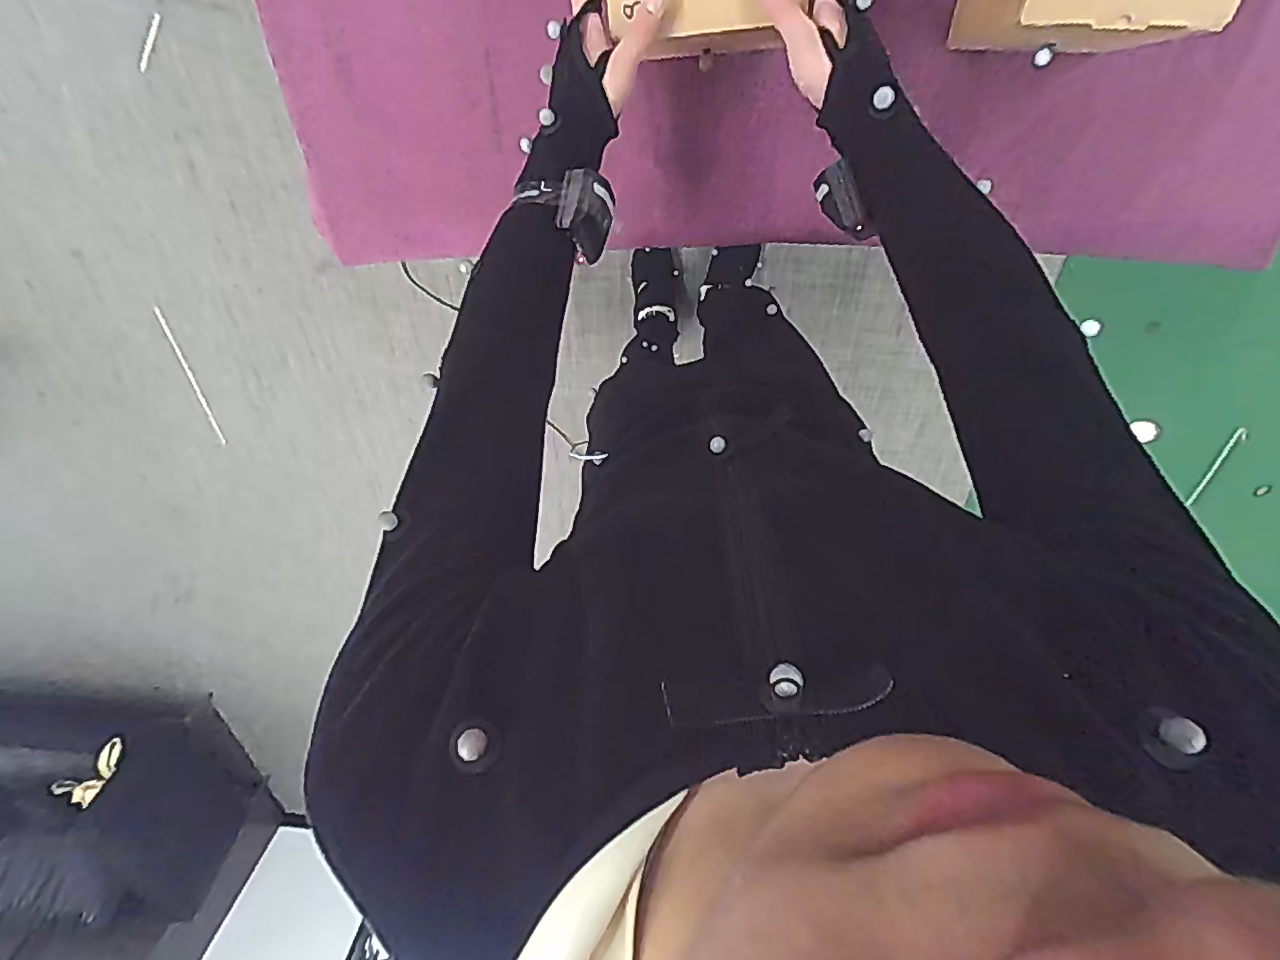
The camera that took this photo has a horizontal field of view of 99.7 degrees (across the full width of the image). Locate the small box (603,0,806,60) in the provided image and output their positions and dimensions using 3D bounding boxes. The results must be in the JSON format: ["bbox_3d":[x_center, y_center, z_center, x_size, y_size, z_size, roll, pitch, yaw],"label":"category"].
[{"bbox_3d":[0.056,-0.503,0.498,0.179,0.176,0.168,-1,123,7],"label":"small box"}]

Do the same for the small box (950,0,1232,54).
[{"bbox_3d":[0.401,-0.490,0.465,0.168,0.176,0.179,5,124,4],"label":"small box"}]

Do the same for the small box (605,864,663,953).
[{"bbox_3d":[-0.018,1.327,1.680,0.168,0.176,0.179,5,124,5],"label":"small box"}]
